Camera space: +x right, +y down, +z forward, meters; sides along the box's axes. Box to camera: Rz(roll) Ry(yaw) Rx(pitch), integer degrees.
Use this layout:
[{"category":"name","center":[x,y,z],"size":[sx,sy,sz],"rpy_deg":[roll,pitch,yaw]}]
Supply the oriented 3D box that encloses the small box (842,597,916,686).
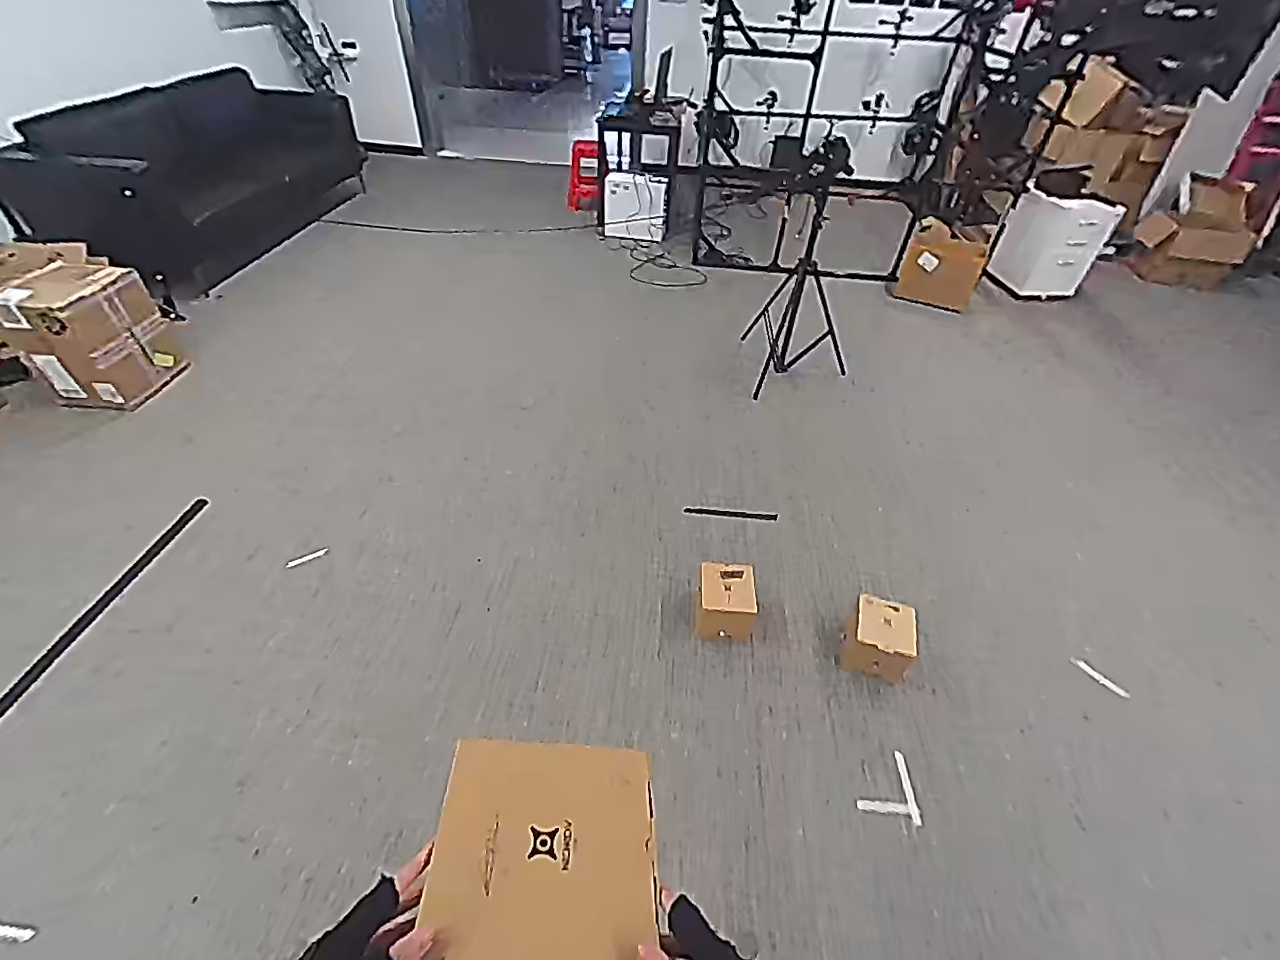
[{"category":"small box","center":[0.721,0.492,1.638],"size":[0.168,0.176,0.179],"rpy_deg":[16,45,12]}]

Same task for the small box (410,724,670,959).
[{"category":"small box","center":[-0.085,0.339,0.467],"size":[0.179,0.176,0.168],"rpy_deg":[7,32,-10]}]

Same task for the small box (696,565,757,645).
[{"category":"small box","center":[0.267,0.396,1.709],"size":[0.168,0.176,0.179],"rpy_deg":[4,44,1]}]
